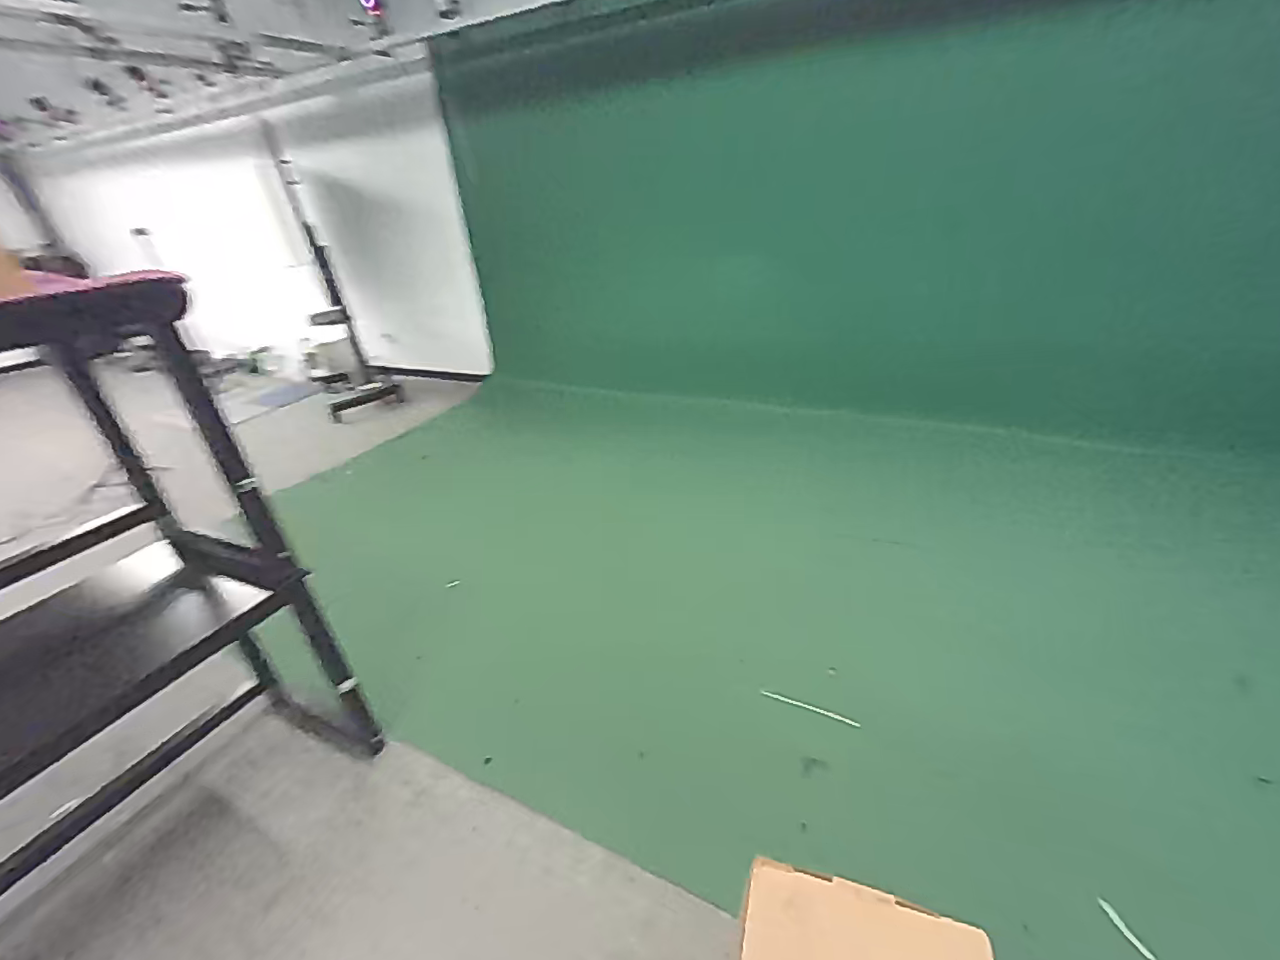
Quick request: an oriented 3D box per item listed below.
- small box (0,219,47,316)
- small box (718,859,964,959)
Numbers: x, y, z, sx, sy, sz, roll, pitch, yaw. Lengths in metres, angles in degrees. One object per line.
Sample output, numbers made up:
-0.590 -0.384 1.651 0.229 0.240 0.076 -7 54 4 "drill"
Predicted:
-1.191 -0.366 0.921 0.179 0.176 0.168 12 34 26 "small box"
0.130 0.428 0.385 0.168 0.176 0.179 9 32 15 "small box"
